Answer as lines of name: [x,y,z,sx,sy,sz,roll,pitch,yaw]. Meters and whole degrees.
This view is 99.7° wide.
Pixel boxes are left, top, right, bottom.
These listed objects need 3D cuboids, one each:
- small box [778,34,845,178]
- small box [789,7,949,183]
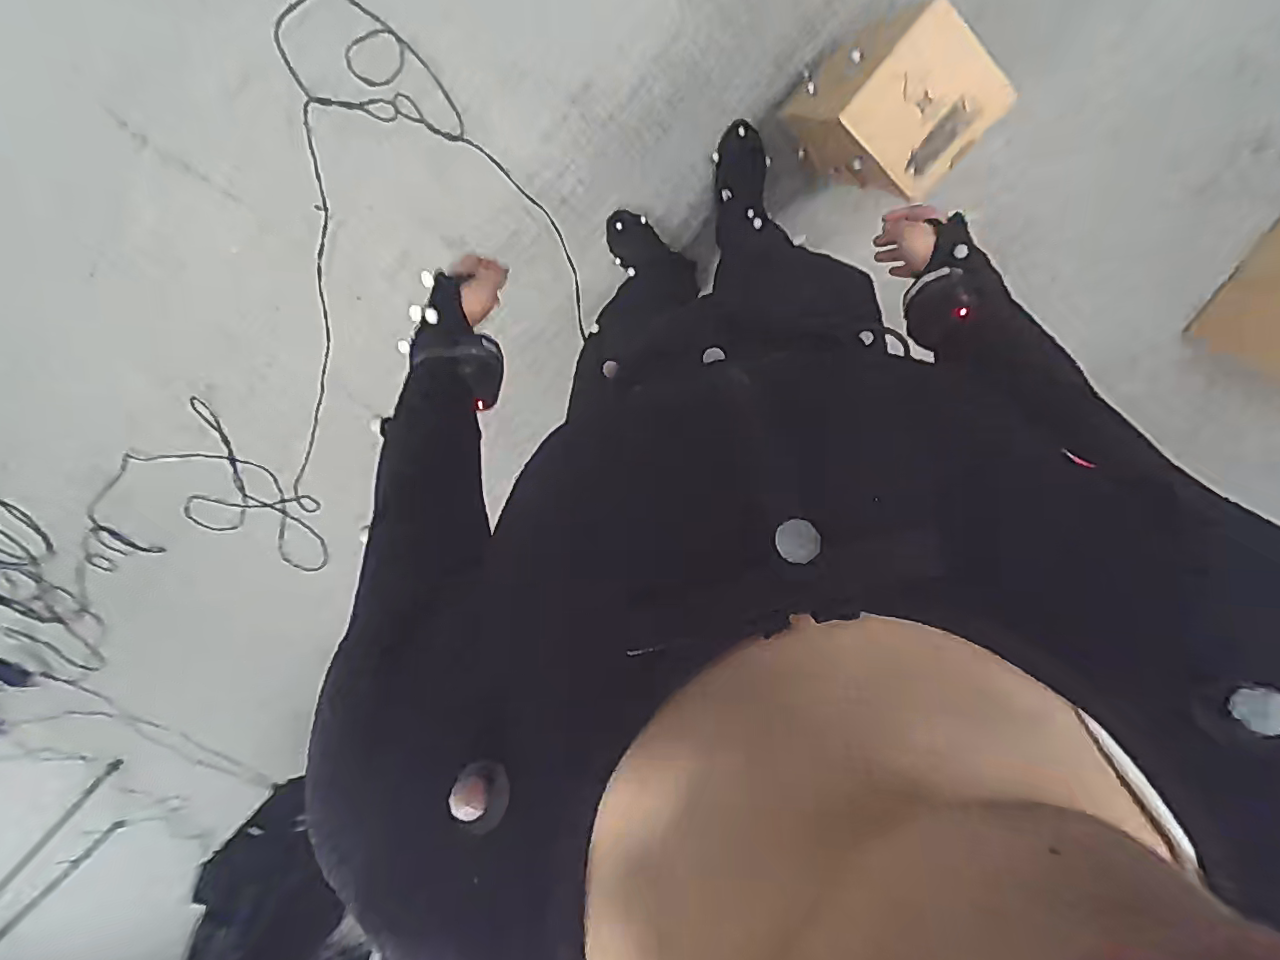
small box: [0.391,-0.739,1.071,0.168,0.176,0.179,38,117,-22]
small box: [0.379,-0.652,0.933,0.168,0.176,0.179,35,118,-22]
